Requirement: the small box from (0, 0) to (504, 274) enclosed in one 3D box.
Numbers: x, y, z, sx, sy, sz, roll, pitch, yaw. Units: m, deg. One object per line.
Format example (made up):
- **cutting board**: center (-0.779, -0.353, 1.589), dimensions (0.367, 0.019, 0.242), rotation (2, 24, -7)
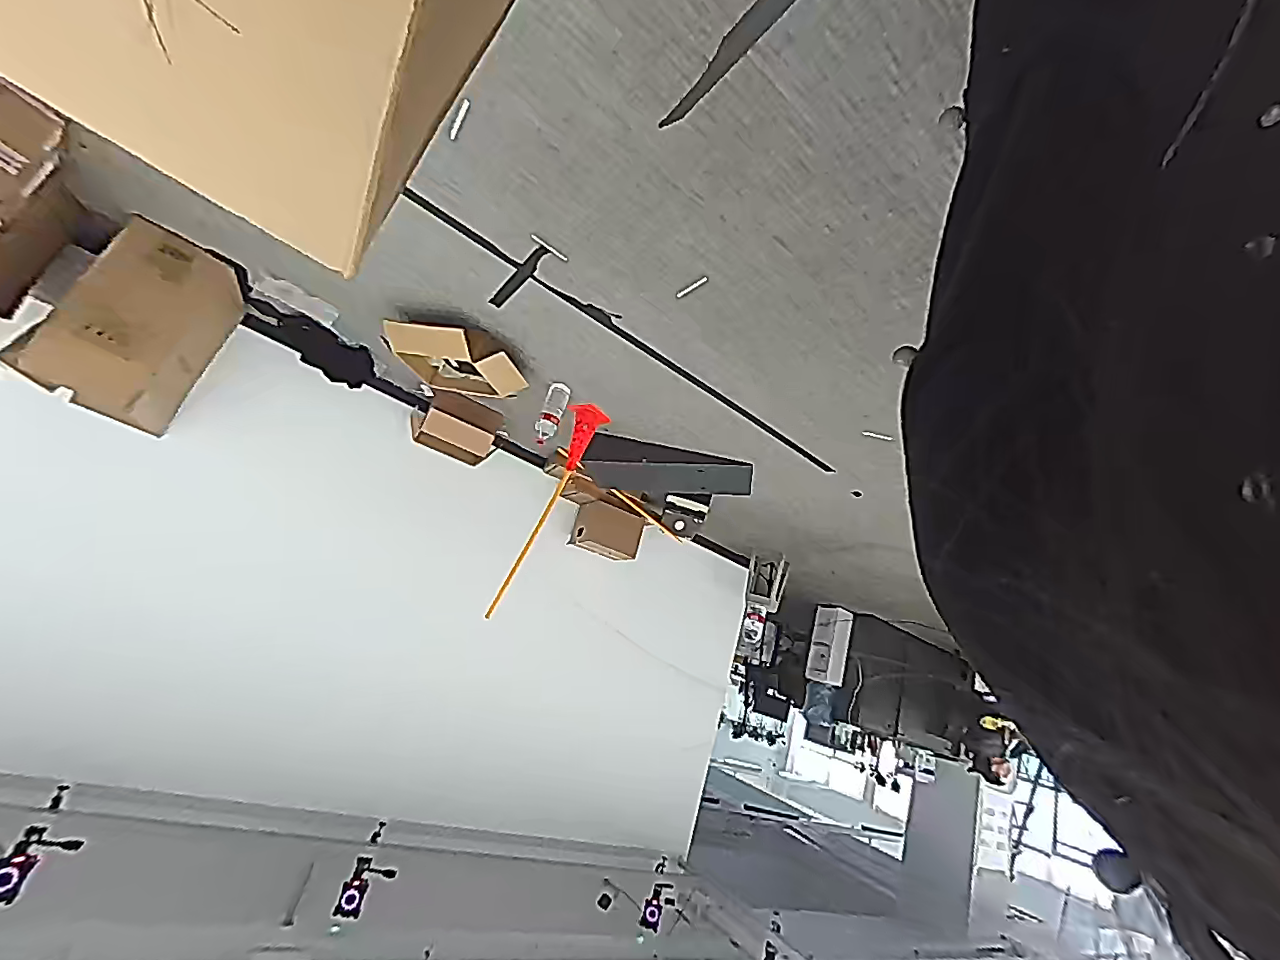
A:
- **small box**: center (-0.096, -0.183, 0.094), dimensions (0.179, 0.176, 0.168), rotation (27, 161, -27)
